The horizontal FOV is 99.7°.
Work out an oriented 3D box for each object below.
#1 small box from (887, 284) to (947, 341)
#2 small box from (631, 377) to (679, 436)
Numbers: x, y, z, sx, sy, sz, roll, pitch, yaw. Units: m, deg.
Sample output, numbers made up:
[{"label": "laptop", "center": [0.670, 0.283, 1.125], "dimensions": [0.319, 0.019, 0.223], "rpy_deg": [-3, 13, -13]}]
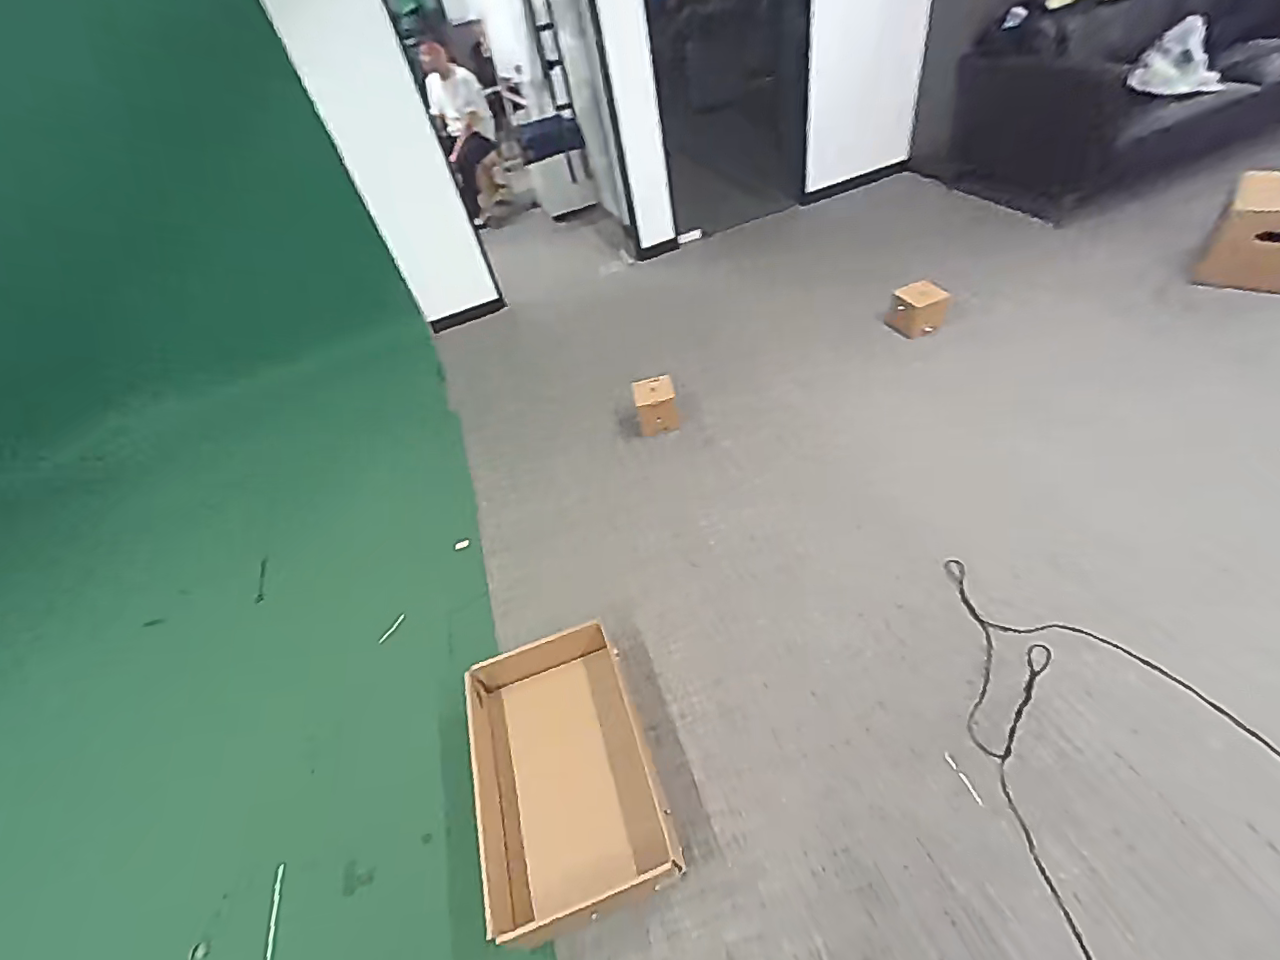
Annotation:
[{"label": "small box", "center": [1.256, -0.760, 2.463], "dimensions": [0.168, 0.176, 0.179], "rpy_deg": [-22, 45, -6]}, {"label": "small box", "center": [0.065, -0.306, 2.309], "dimensions": [0.168, 0.176, 0.179], "rpy_deg": [-13, 45, 2]}]
